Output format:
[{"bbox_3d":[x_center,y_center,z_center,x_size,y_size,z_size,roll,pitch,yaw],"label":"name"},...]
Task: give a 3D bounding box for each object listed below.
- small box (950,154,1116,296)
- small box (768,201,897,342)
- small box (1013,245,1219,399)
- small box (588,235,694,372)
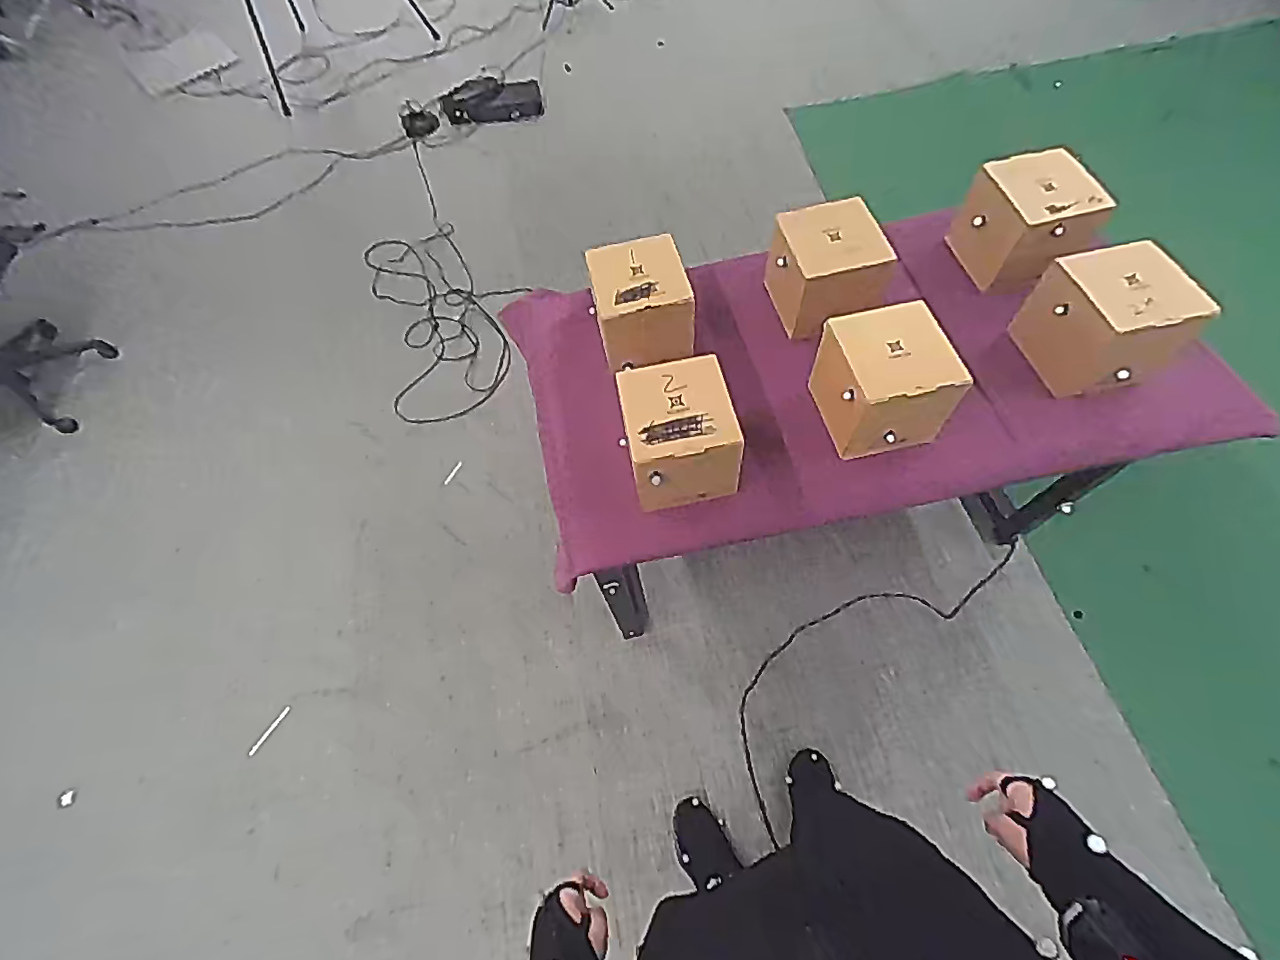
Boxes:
[{"bbox_3d":[0.747,-0.493,1.055,0.168,0.176,0.179,-13,62,-1],"label":"small box"},{"bbox_3d":[0.356,-0.397,1.042,0.168,0.176,0.179,-12,63,-1],"label":"small box"},{"bbox_3d":[0.793,-0.267,0.930,0.168,0.176,0.179,-11,61,0],"label":"small box"},{"bbox_3d":[0.005,-0.326,1.032,0.168,0.176,0.179,-12,62,-2],"label":"small box"}]
